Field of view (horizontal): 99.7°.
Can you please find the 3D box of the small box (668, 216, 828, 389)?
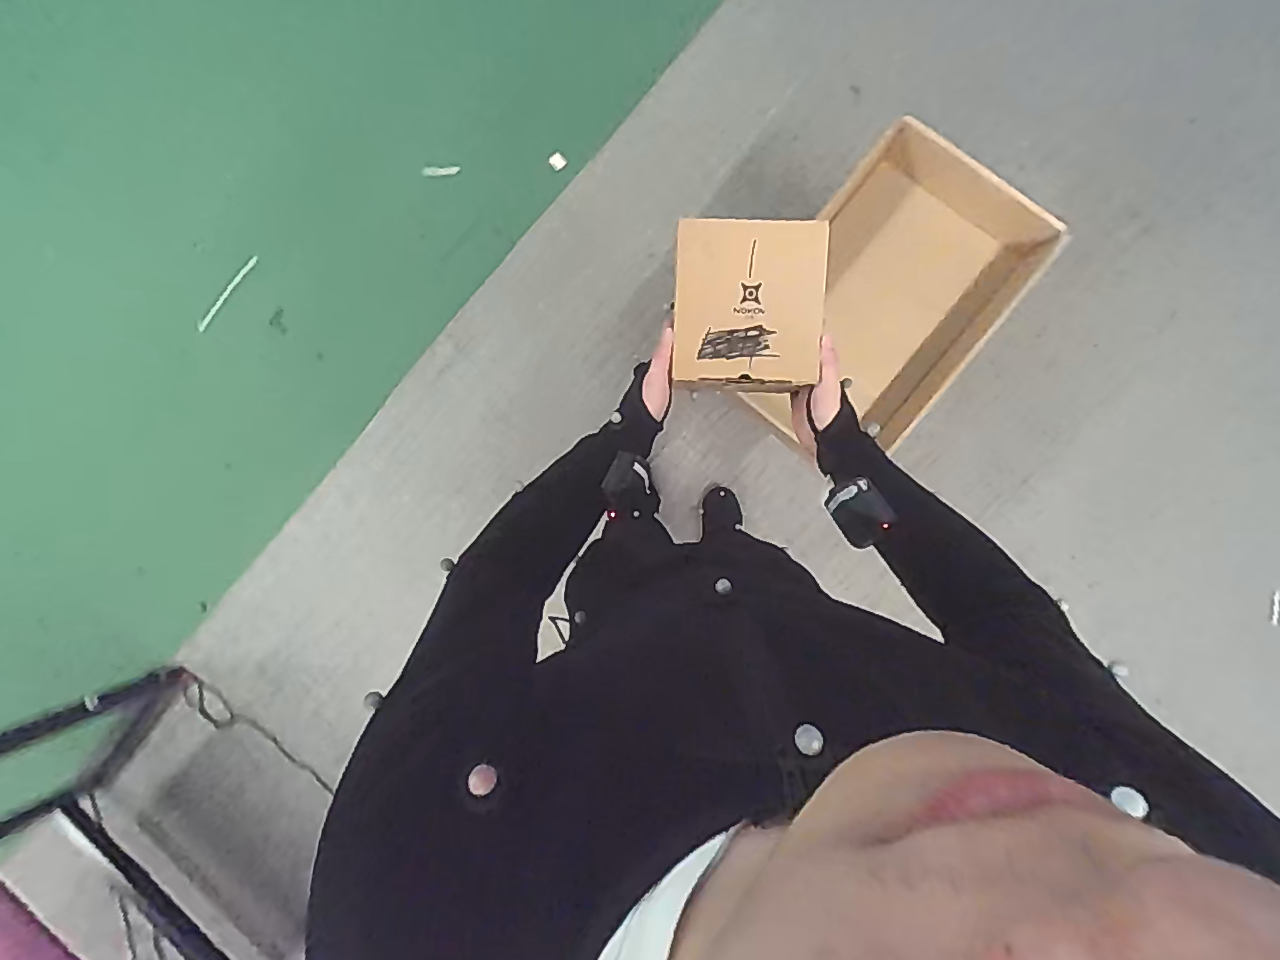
[{"bbox_3d":[0.121,-0.204,0.667,0.168,0.176,0.179,0,95,2],"label":"small box"}]
